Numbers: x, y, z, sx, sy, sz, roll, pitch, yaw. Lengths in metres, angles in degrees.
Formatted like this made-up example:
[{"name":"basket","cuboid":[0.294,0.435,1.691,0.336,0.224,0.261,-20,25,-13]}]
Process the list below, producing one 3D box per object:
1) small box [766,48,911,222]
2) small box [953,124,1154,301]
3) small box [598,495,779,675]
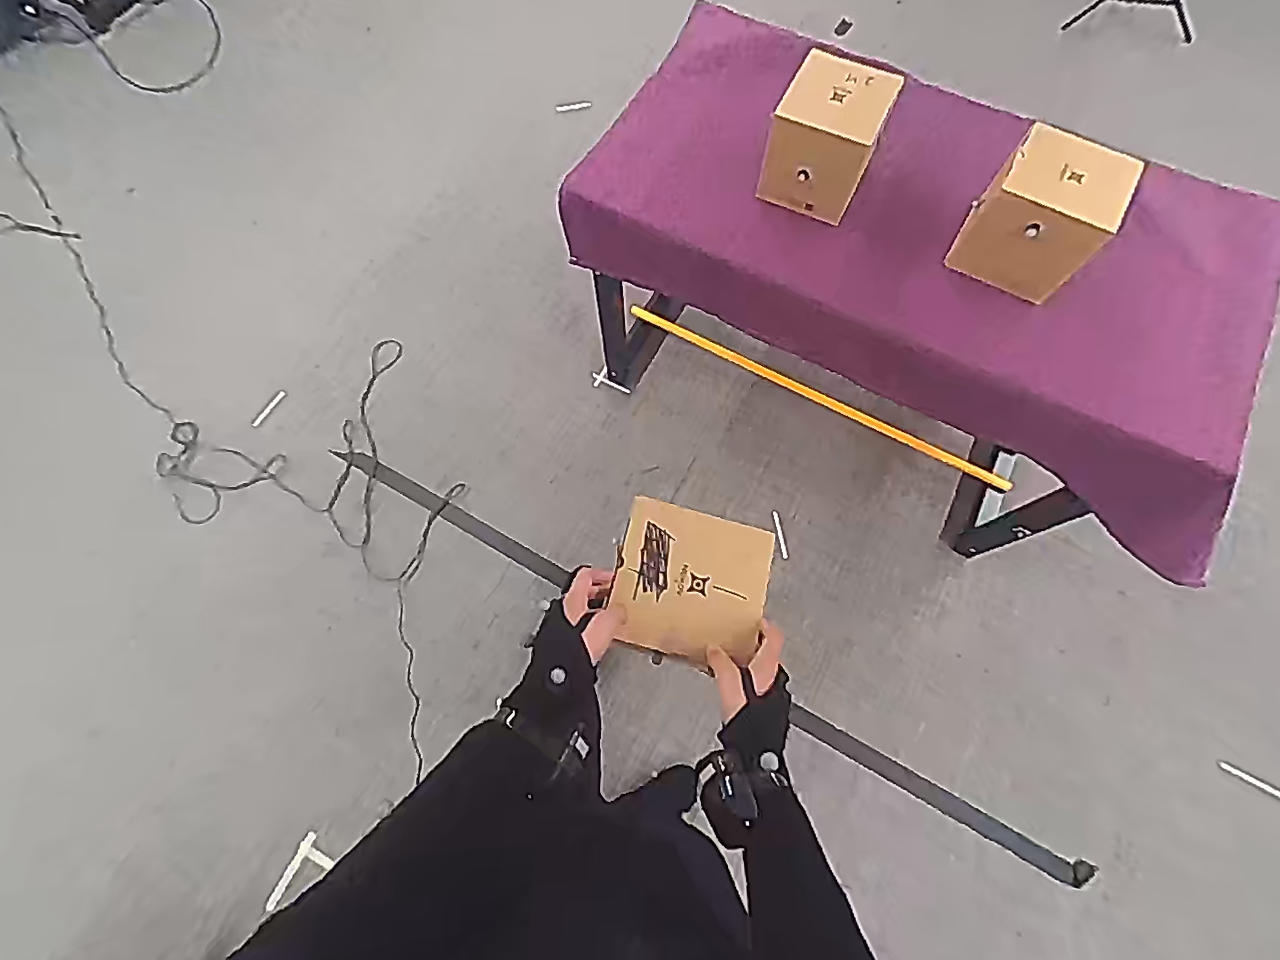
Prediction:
[{"name":"small box","cuboid":[0.337,-0.596,0.951,0.168,0.176,0.179,26,73,9]},{"name":"small box","cuboid":[0.666,-0.427,0.889,0.179,0.176,0.168,30,74,12]},{"name":"small box","cuboid":[0.050,0.139,0.680,0.179,0.176,0.168,17,71,-1]}]
